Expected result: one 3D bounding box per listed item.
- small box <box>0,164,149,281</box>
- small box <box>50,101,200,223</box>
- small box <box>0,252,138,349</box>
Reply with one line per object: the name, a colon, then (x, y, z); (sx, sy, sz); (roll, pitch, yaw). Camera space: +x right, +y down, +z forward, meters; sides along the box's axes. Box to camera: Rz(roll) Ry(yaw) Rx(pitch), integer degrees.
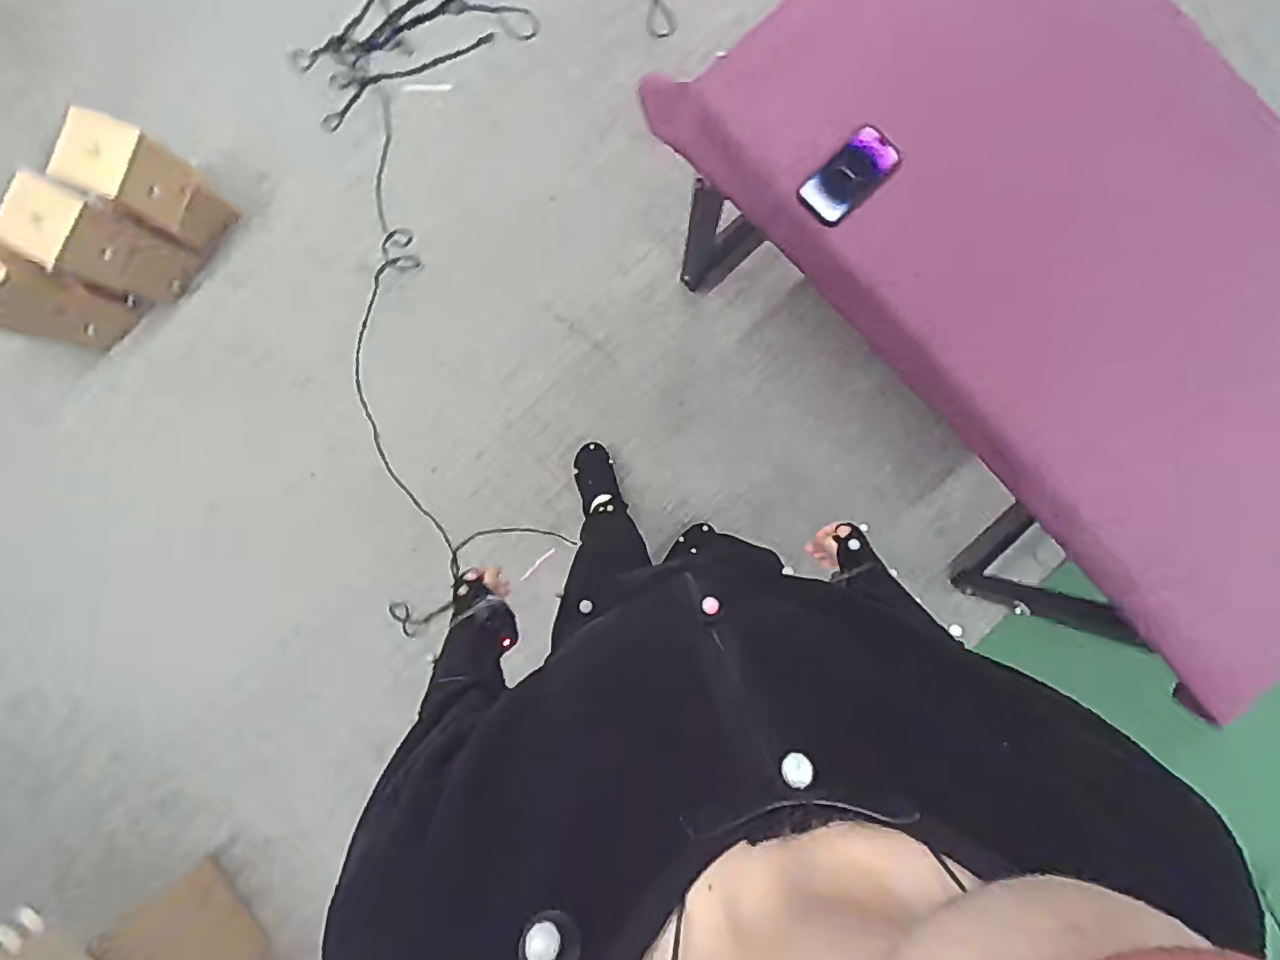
small box: (-1.359, -0.607, 1.303); (0.179, 0.176, 0.168); (29, 90, 2)
small box: (-1.224, -0.752, 1.300); (0.179, 0.176, 0.168); (22, 89, 3)
small box: (-1.531, -0.488, 1.467); (0.179, 0.176, 0.168); (-43, 88, 1)
